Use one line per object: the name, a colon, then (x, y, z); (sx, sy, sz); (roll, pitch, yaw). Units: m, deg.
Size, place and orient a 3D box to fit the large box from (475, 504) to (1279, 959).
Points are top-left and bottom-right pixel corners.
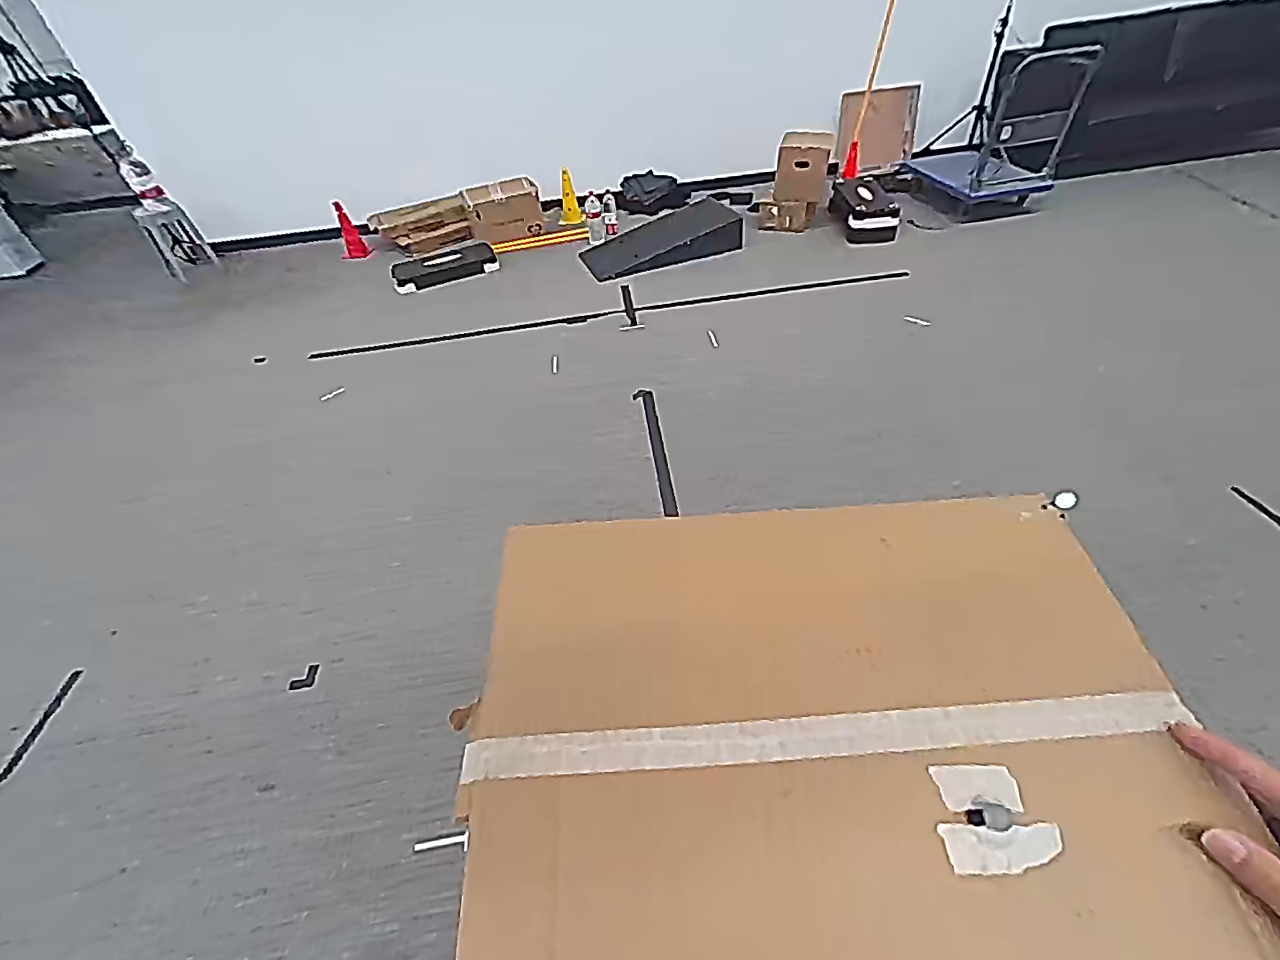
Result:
large box: (0.112, 0.245, 0.435); (0.408, 0.320, 0.320); (-4, 53, -1)
